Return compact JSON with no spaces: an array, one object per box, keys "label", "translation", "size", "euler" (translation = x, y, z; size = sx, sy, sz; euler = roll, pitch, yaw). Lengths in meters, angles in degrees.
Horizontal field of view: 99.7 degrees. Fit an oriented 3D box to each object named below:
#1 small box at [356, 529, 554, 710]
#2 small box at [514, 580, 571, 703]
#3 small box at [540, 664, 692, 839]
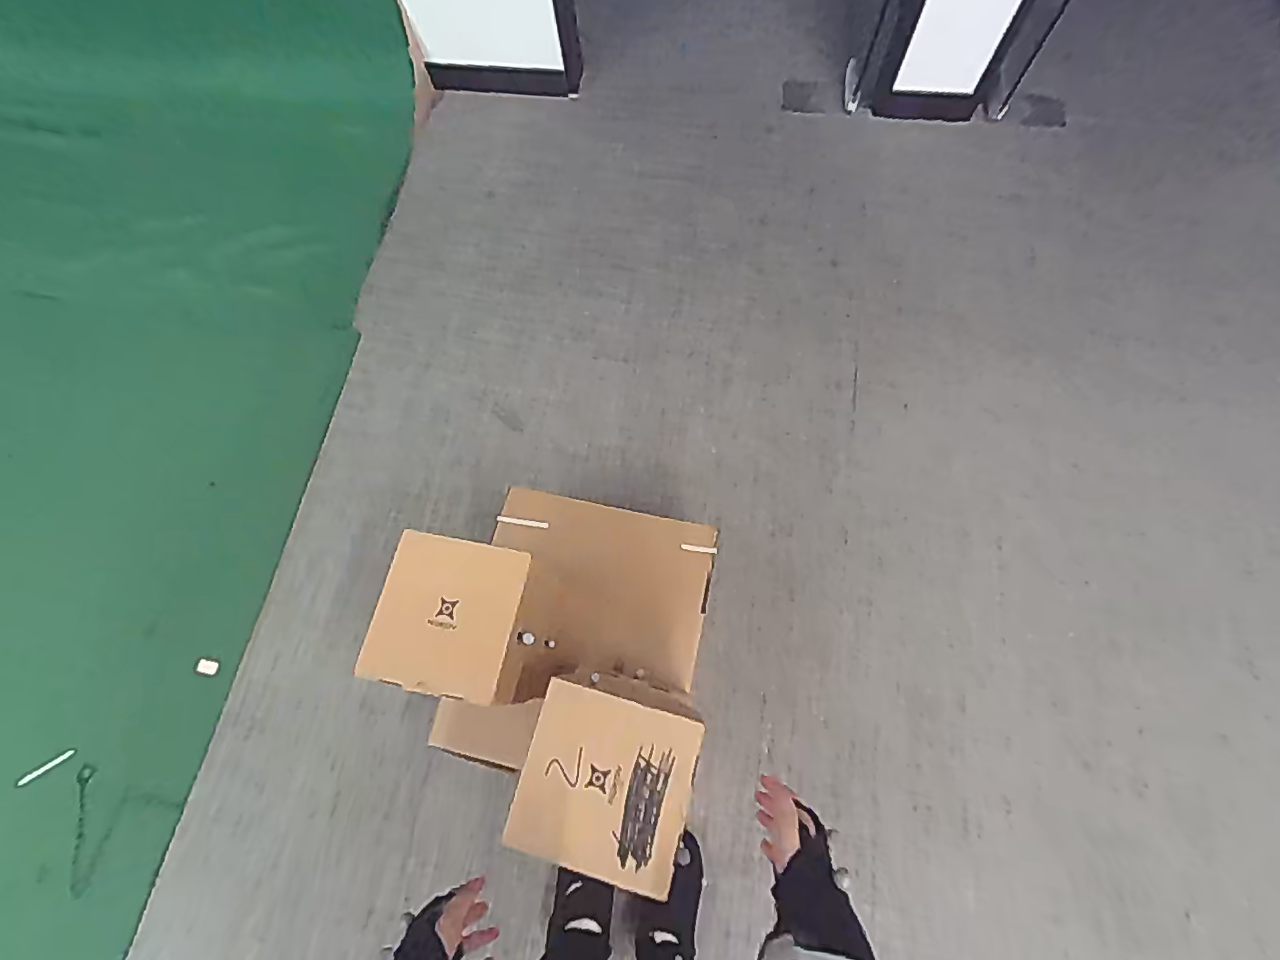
[{"label":"small box","translation":[-0.219,0.181,0.699],"size":[0.168,0.176,0.179],"euler":[11,72,7]},{"label":"small box","translation":[-0.216,0.239,0.852],"size":[0.168,0.176,0.179],"euler":[11,70,7]},{"label":"small box","translation":[-0.028,0.381,0.788],"size":[0.168,0.176,0.179],"euler":[13,70,7]}]
